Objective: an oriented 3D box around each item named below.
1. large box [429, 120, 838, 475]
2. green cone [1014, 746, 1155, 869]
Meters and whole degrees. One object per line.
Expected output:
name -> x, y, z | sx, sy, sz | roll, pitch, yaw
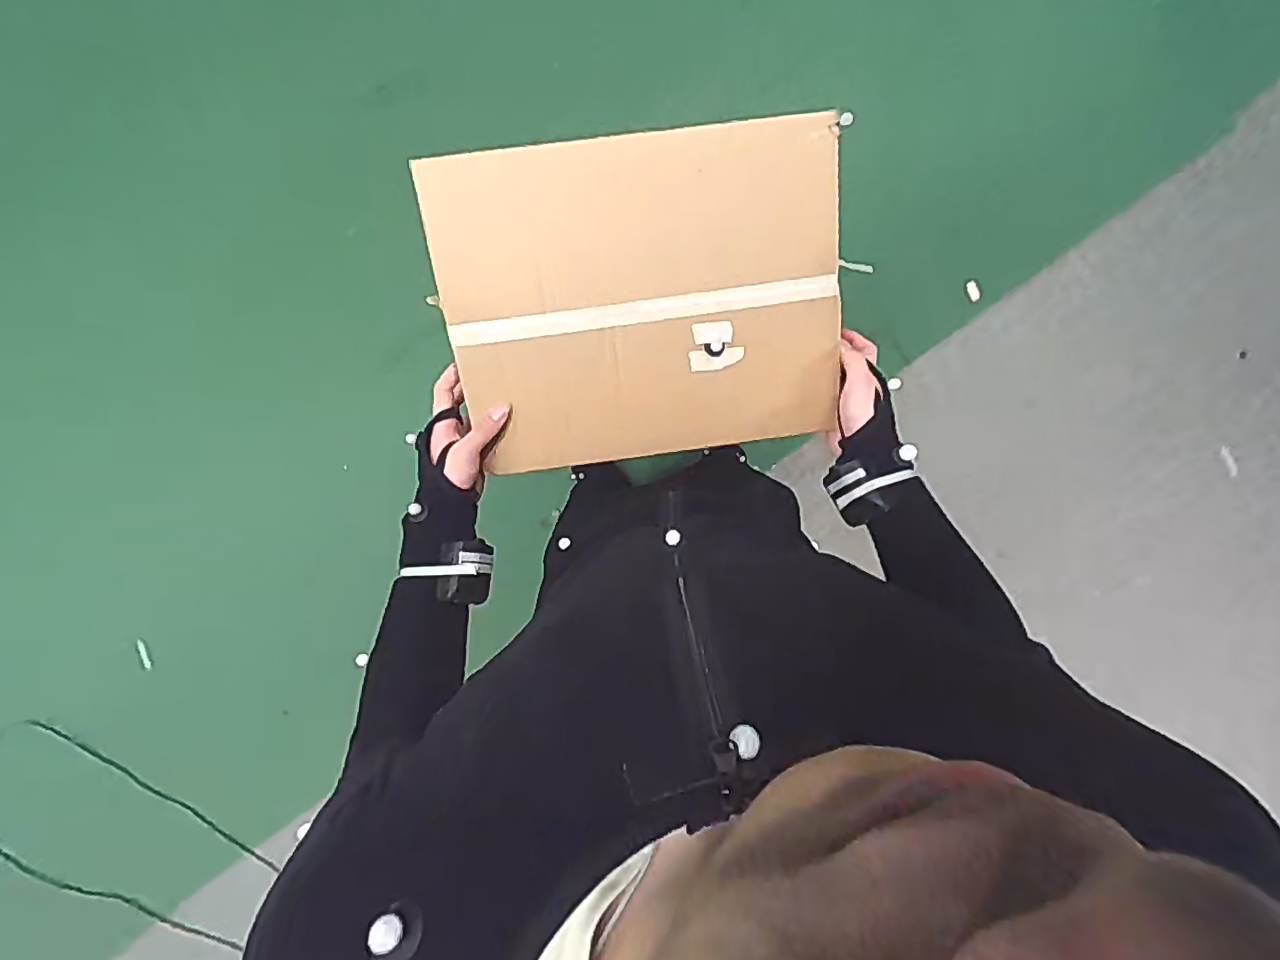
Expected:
large box -> -0.001, -0.223, 0.705 | 0.408, 0.320, 0.320 | -8, 110, -3
green cone -> 1.409, 1.047, 1.678 | 0.200, 0.368, 0.202 | -31, 97, 1
